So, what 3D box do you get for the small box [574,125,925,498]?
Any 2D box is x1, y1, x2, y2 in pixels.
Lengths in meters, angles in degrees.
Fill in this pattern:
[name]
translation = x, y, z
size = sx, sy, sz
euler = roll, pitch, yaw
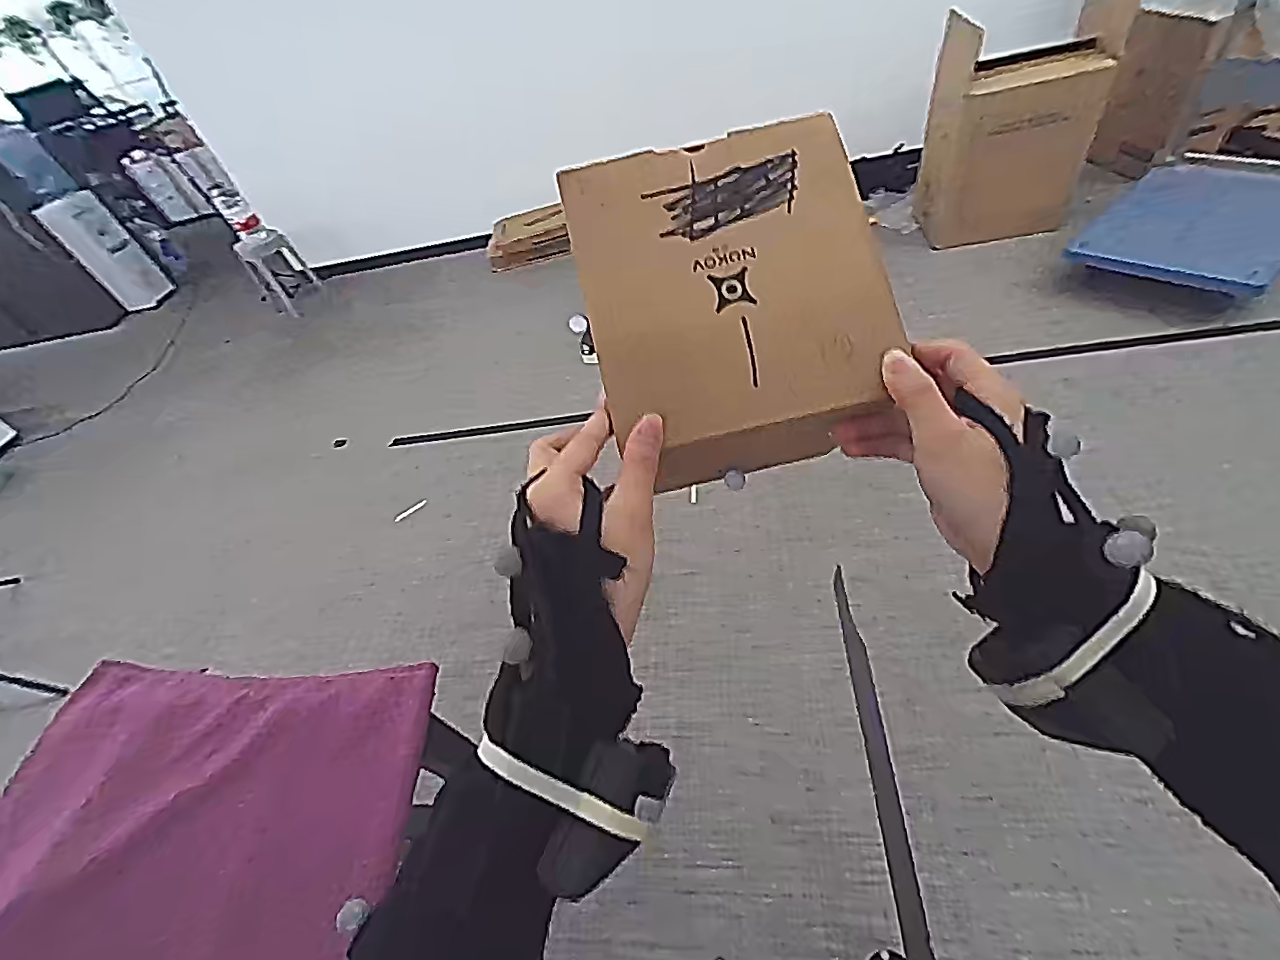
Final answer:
[small box]
translation = 0.058, -0.096, 0.381
size = 0.168, 0.176, 0.179
euler = -12, 80, 0
